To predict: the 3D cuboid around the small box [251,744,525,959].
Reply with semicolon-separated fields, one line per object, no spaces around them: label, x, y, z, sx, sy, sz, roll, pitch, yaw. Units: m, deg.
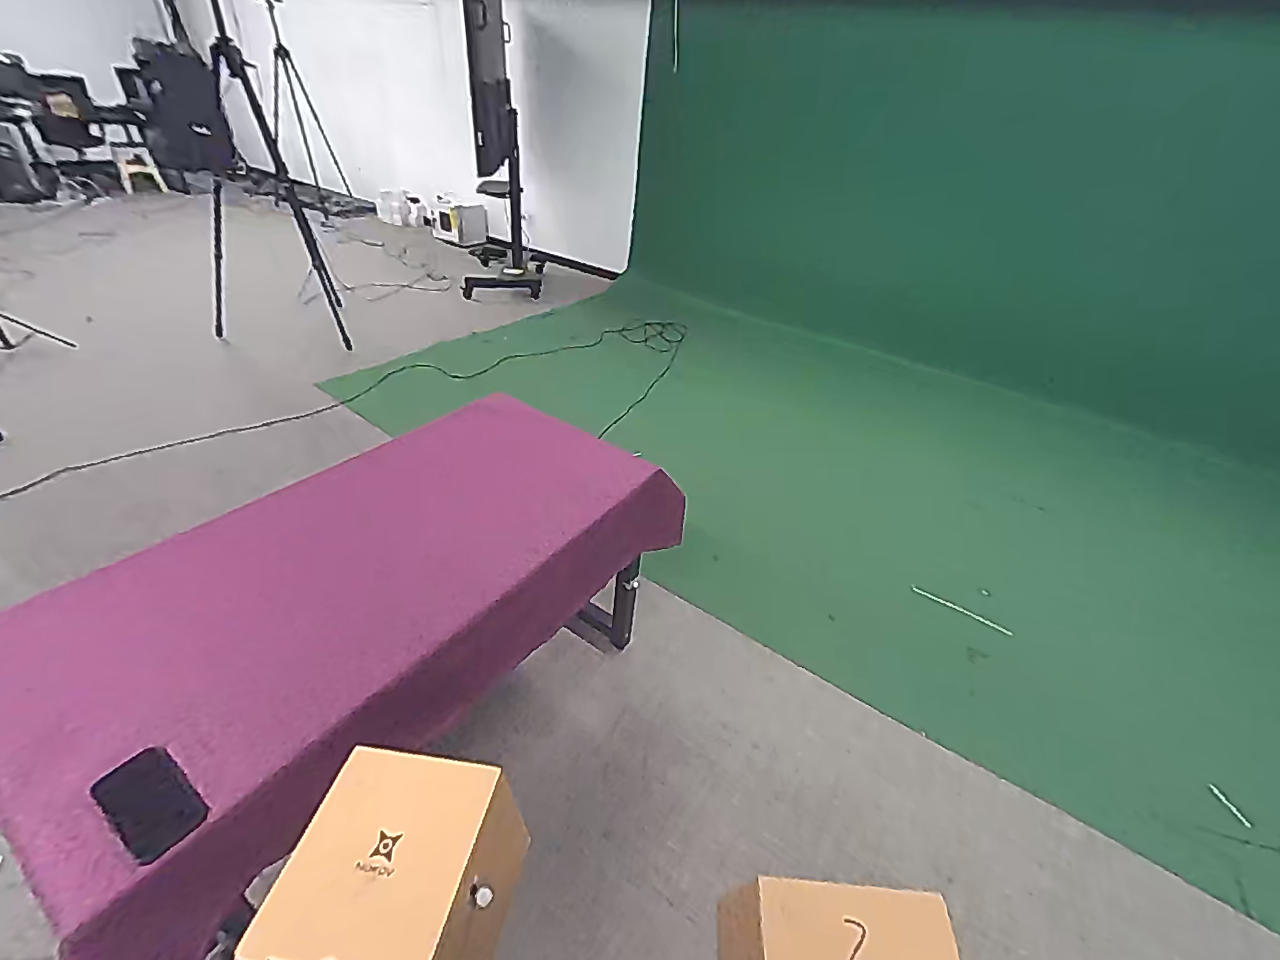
small box;-0.227;0.403;0.546;0.168;0.176;0.179;4;38;10
